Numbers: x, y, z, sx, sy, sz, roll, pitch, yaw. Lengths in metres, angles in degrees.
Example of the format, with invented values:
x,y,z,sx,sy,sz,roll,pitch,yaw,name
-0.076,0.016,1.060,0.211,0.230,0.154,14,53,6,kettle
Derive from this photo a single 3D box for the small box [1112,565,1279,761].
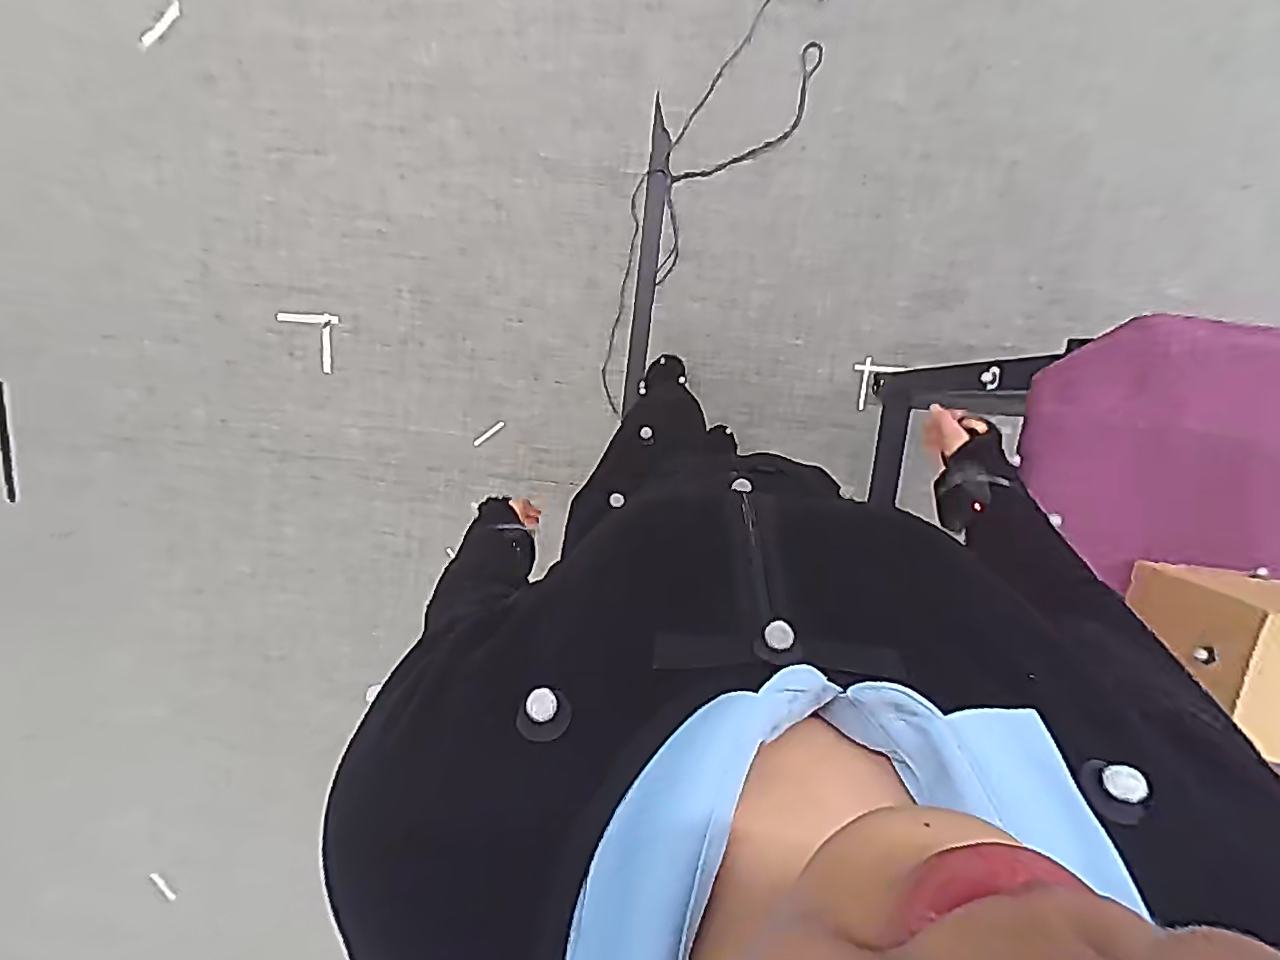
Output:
x,y,z,sx,sy,sz,roll,pitch,yaw,name
0.737,0.215,0.662,0.168,0.176,0.179,6,100,3,small box
